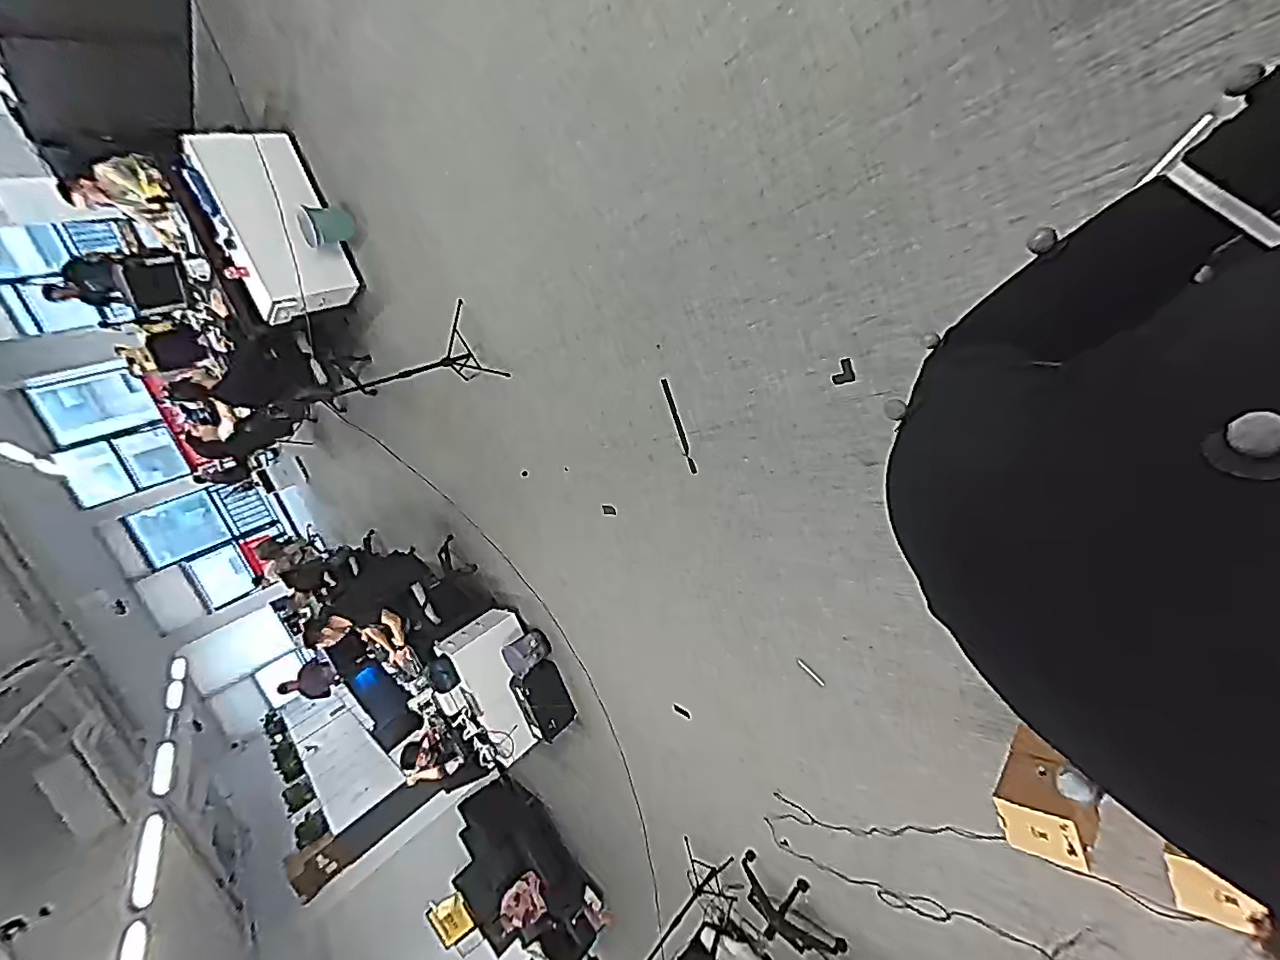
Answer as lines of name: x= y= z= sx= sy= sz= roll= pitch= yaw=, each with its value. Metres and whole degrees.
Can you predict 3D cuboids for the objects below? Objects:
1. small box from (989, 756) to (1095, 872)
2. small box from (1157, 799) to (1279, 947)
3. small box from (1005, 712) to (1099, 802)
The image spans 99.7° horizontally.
small box: x=1.063 y=0.869 z=1.429 sx=0.179 sy=0.176 sz=0.168 roll=-8 pitch=108 yaw=52
small box: x=1.269 y=0.843 z=1.181 sx=0.179 sy=0.176 sz=0.168 roll=-9 pitch=108 yaw=51
small box: x=1.172 y=0.800 z=1.532 sx=0.168 sy=0.176 sz=0.179 roll=-8 pitch=107 yaw=51
